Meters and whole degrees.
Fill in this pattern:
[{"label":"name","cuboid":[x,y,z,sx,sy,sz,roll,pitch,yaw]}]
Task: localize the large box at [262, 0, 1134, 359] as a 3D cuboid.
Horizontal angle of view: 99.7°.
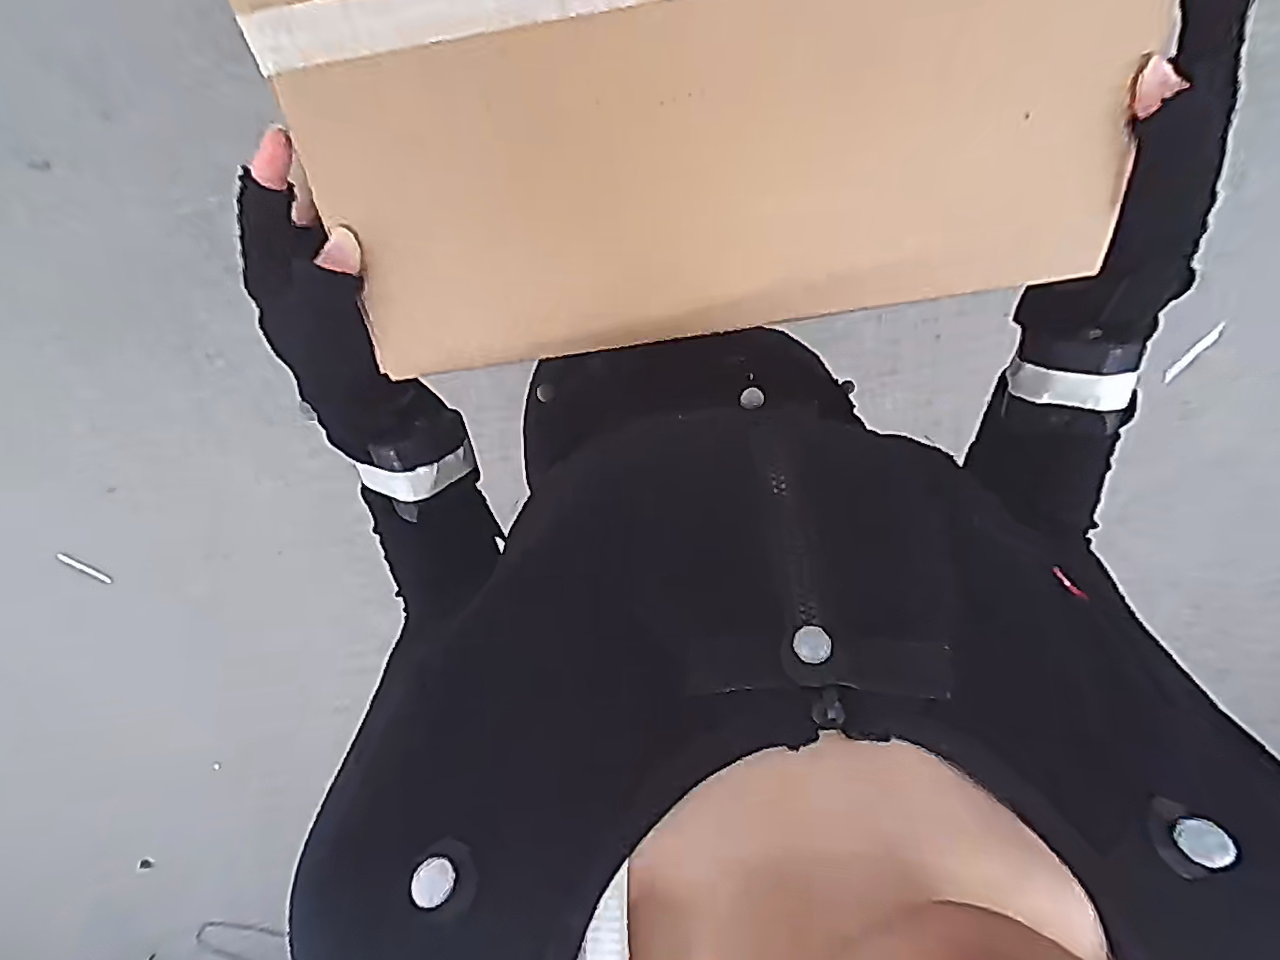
[{"label":"large box","cuboid":[0.020,-0.305,0.370,0.408,0.320,0.320,-8,120,3]}]
